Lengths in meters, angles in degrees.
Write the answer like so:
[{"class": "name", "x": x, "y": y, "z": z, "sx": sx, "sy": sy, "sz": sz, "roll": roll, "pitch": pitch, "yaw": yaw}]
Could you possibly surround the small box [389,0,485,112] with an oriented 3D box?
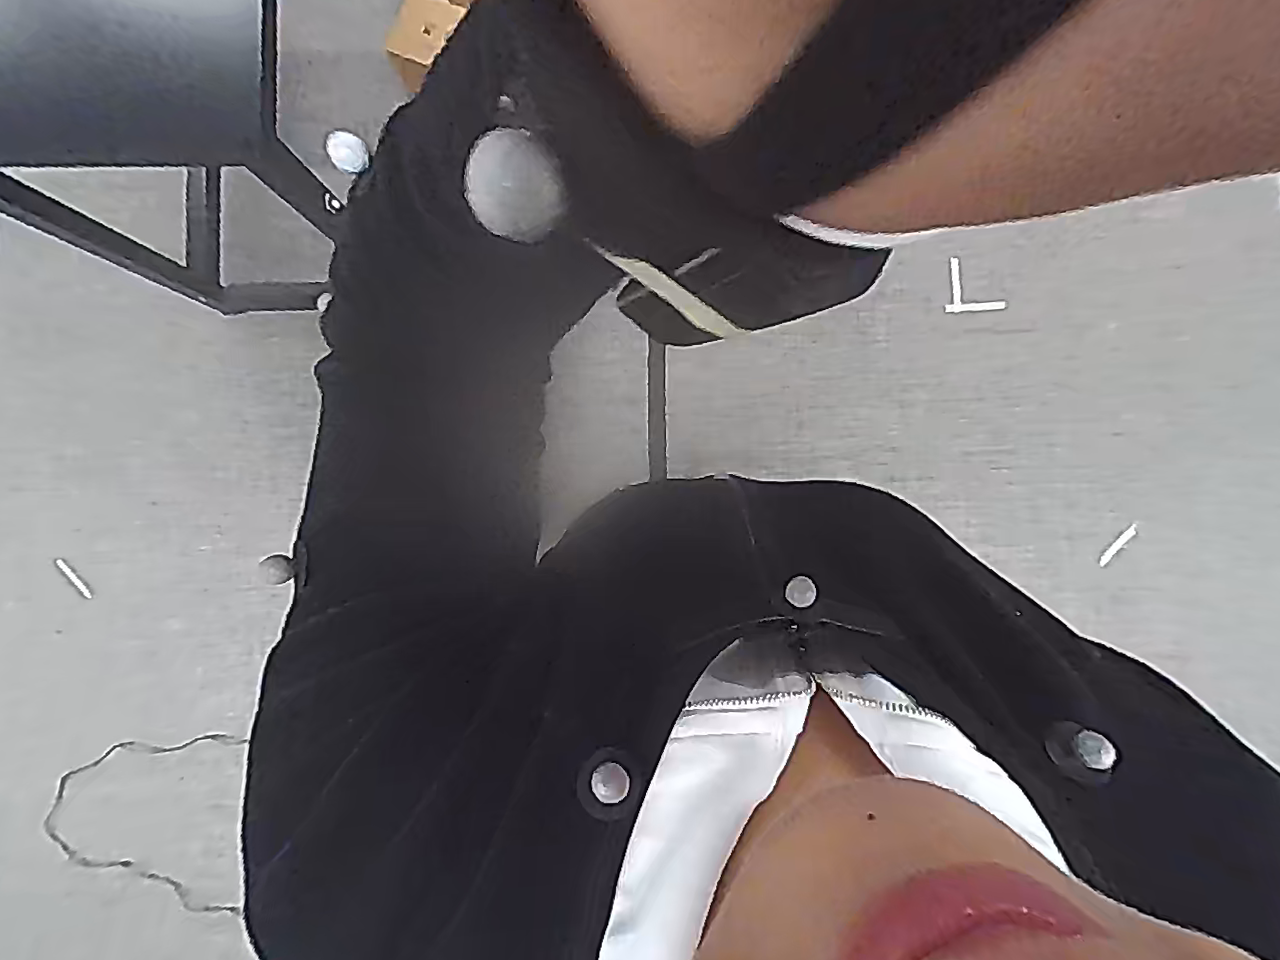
[{"class": "small box", "x": -0.534, "y": -1.142, "z": 1.453, "sx": 0.168, "sy": 0.176, "sz": 0.179, "roll": 20, "pitch": 90, "yaw": 0}]
